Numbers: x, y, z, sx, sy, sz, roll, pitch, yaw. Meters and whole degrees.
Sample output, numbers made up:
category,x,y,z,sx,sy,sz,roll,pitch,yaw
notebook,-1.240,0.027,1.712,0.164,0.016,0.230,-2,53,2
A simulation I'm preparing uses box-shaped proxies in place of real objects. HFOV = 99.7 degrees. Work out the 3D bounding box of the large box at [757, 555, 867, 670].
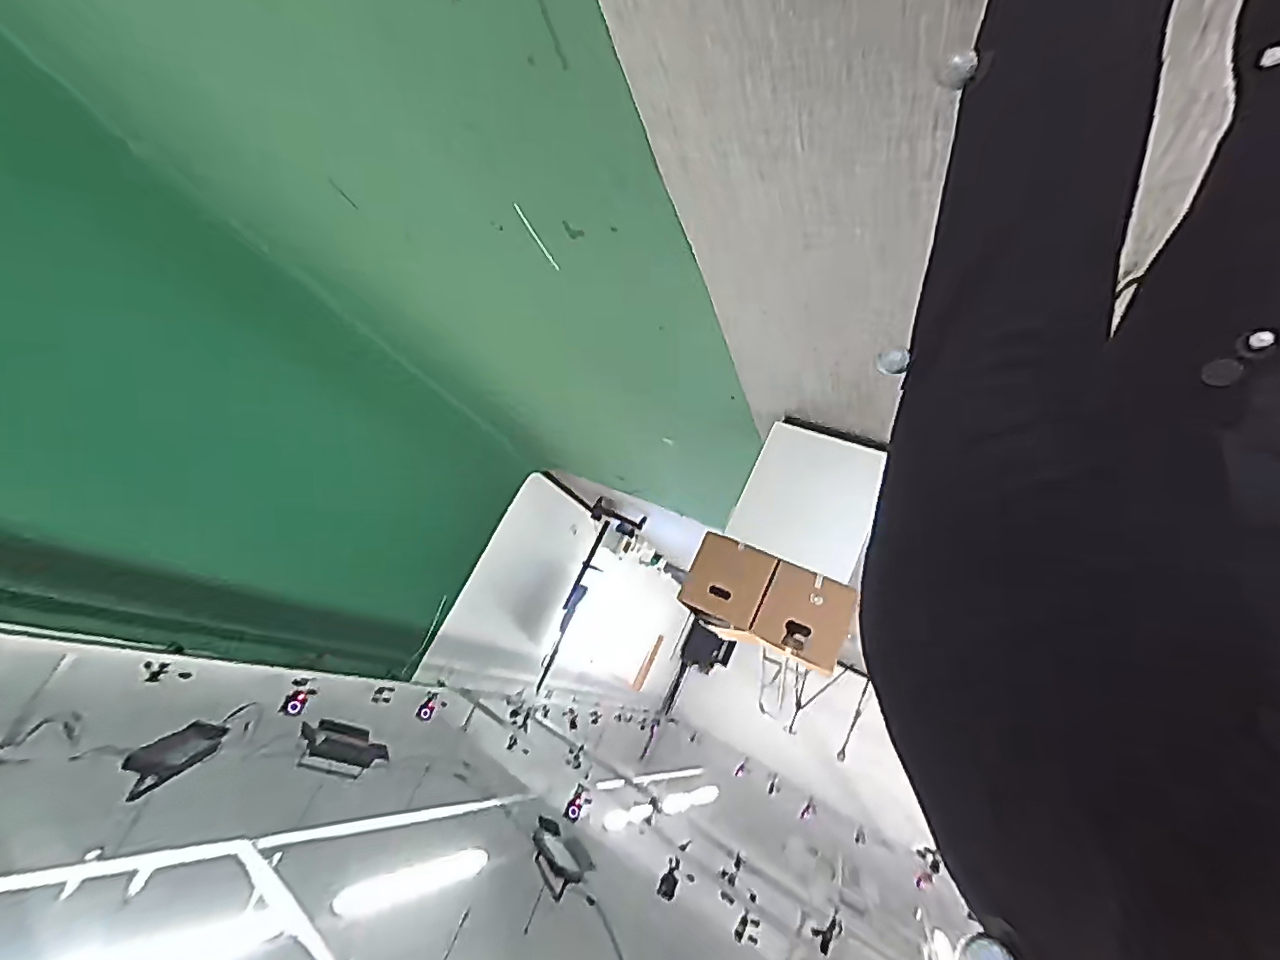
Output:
category,x,y,z,sx,sy,sz,roll,pitch,yaw
large box,0.694,0.532,2.146,0.320,0.320,0.408,21,167,27
